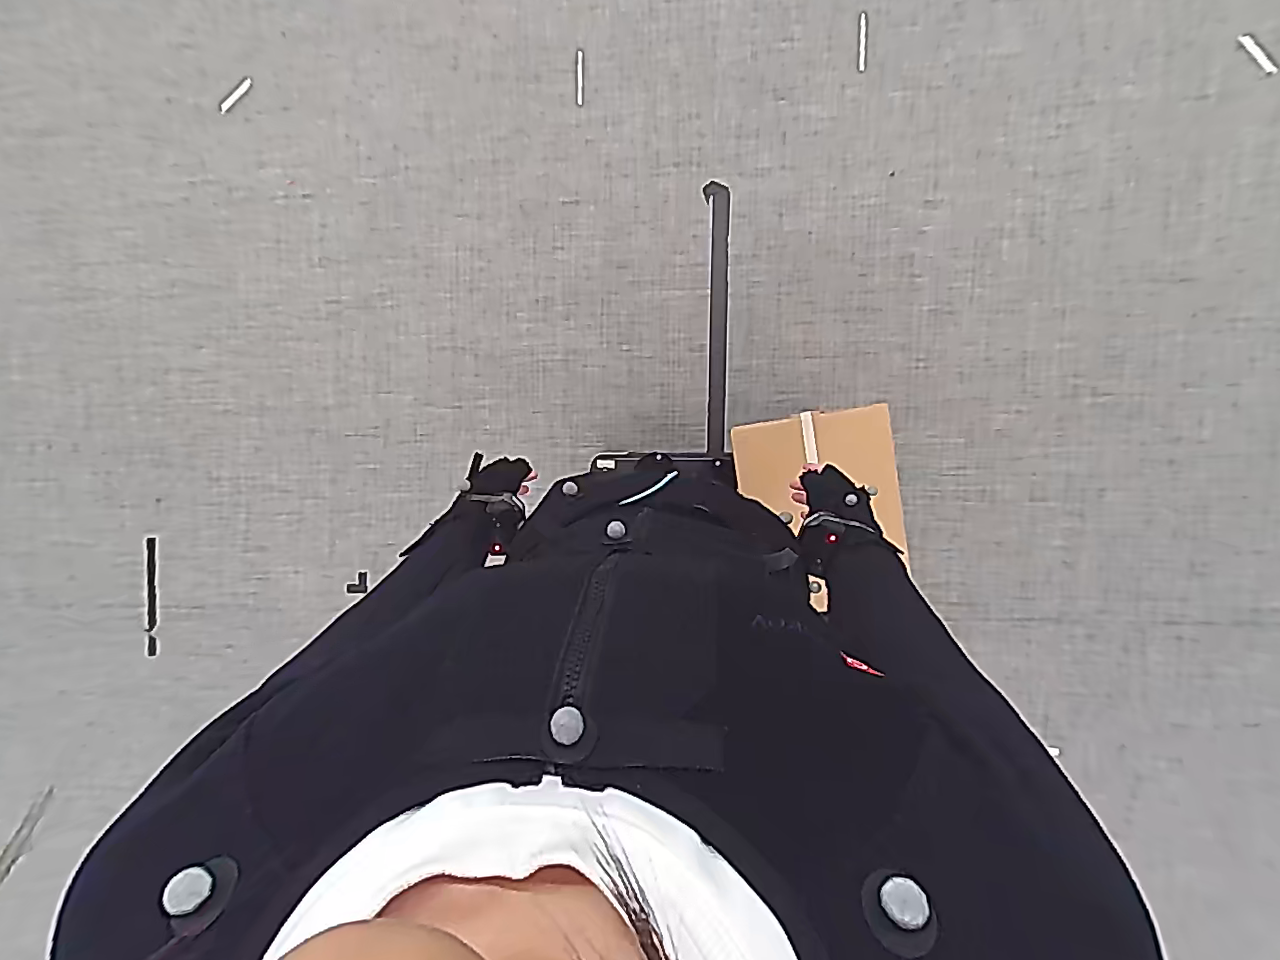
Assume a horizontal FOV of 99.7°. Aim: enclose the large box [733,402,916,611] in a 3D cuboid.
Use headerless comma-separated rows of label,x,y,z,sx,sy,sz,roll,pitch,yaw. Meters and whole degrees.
large box,0.404,0.050,1.253,0.320,0.320,0.408,-8,93,13
